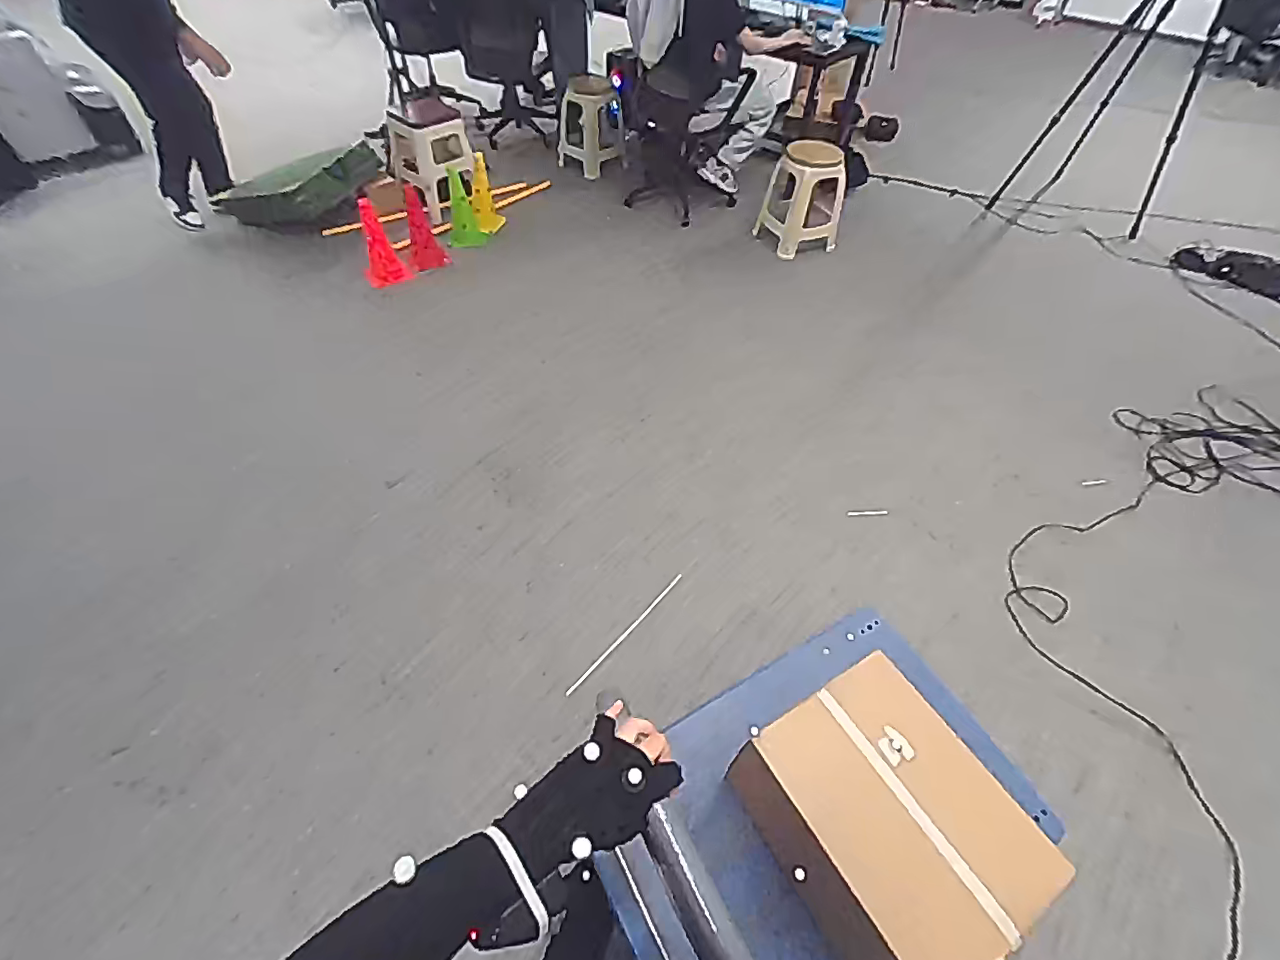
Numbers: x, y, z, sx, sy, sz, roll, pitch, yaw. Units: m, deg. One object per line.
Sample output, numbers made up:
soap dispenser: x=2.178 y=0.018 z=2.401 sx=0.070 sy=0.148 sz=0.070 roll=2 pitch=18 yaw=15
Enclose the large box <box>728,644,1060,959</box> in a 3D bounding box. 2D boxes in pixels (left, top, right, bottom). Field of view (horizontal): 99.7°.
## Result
large box: x=0.414 y=0.597 z=0.996 sx=0.320 sy=0.320 sz=0.408 roll=-24 pitch=55 yaw=-19
